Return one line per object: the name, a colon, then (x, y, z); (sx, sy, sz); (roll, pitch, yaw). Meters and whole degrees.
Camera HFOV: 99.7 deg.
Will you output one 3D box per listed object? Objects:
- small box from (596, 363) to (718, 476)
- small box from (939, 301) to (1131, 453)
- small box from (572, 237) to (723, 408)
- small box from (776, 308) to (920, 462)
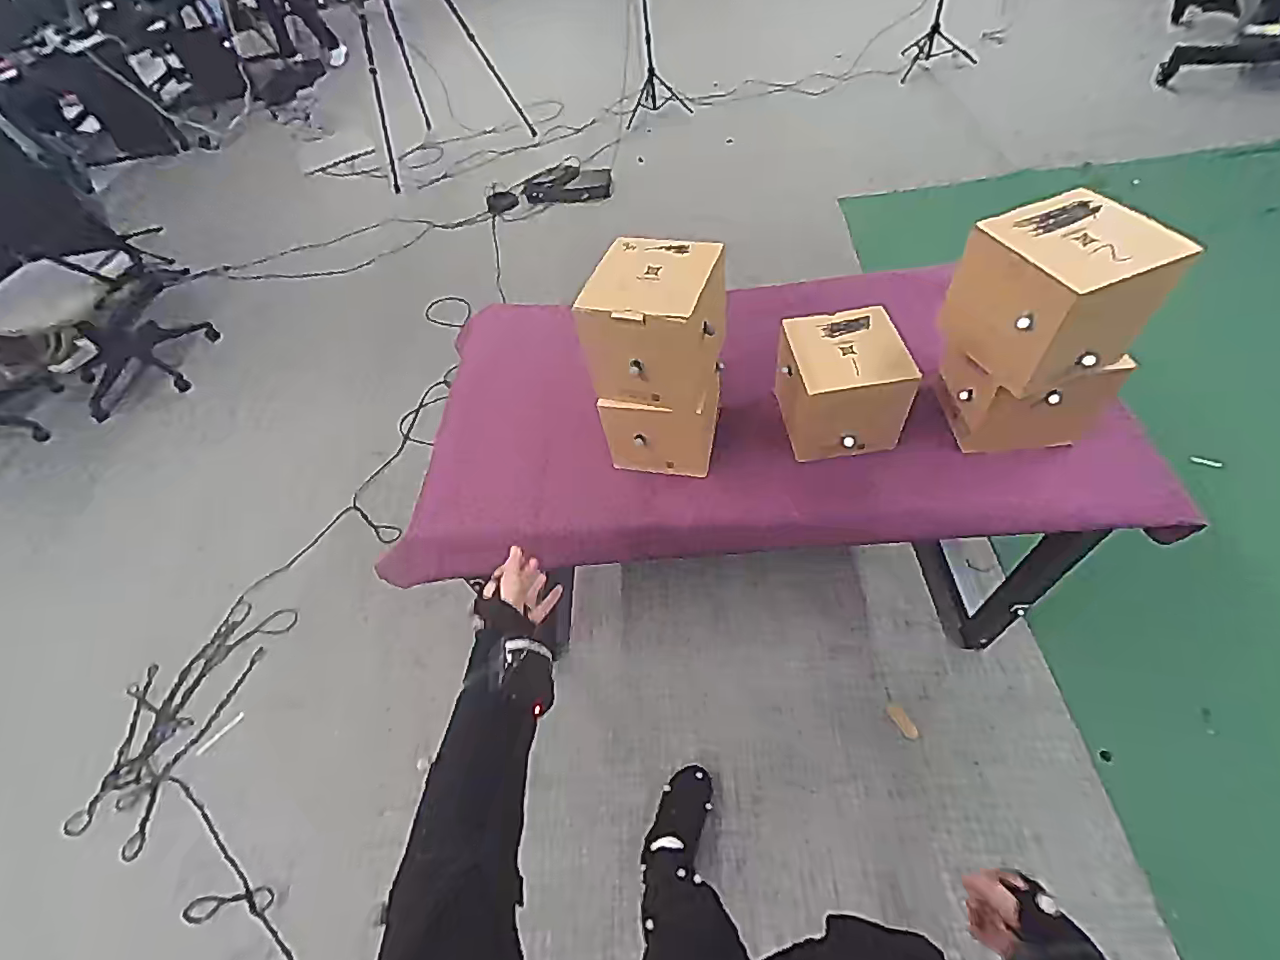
small box: (0.040, -0.125, 0.923); (0.168, 0.176, 0.179); (6, 54, 14)
small box: (0.596, -0.156, 0.853); (0.179, 0.176, 0.168); (-3, 53, 7)
small box: (0.024, -0.229, 0.796); (0.168, 0.176, 0.179); (13, 57, 18)
small box: (0.328, -0.154, 0.895); (0.168, 0.176, 0.179); (-8, 53, 4)
